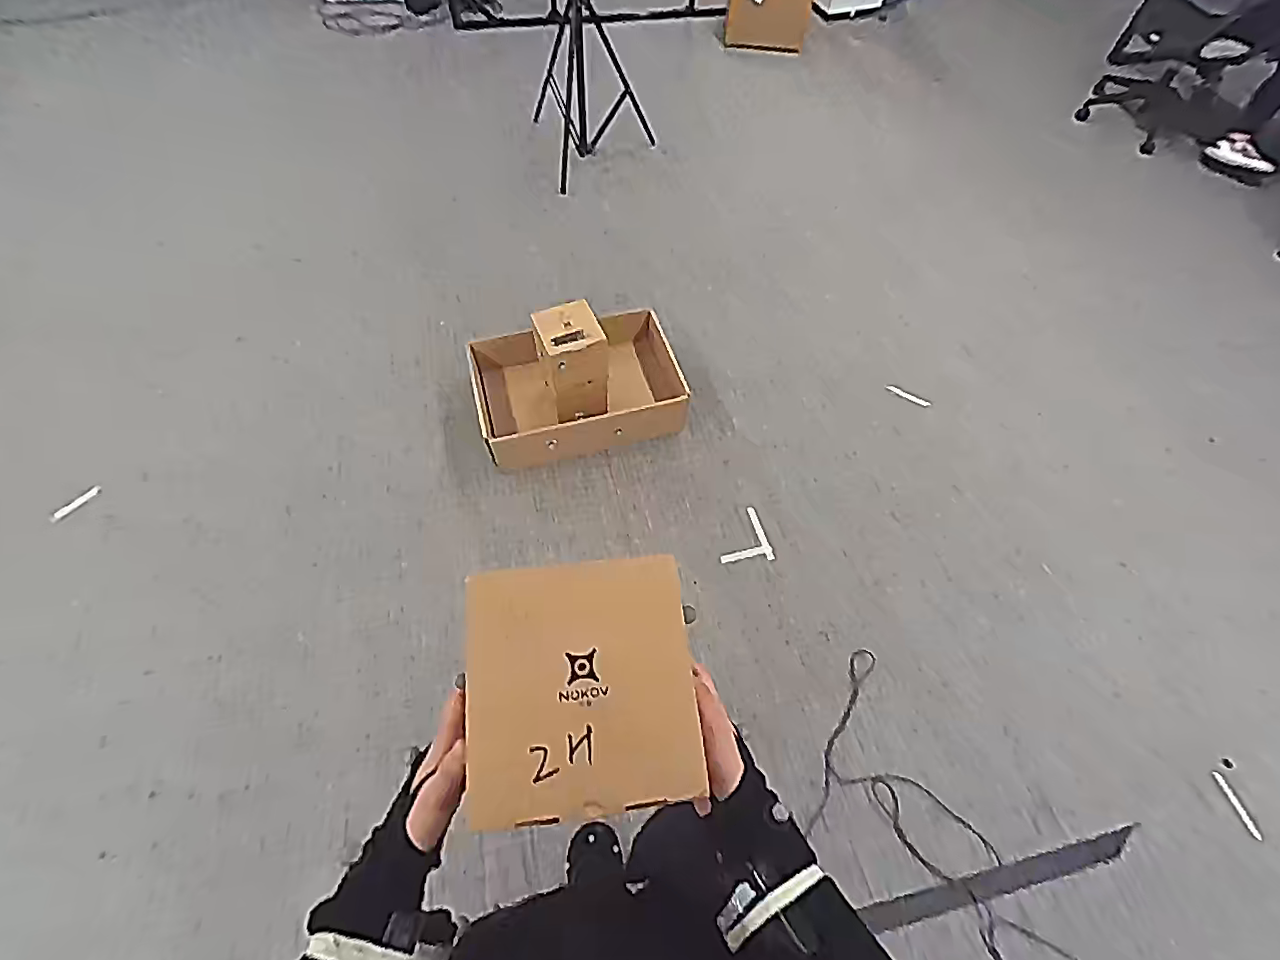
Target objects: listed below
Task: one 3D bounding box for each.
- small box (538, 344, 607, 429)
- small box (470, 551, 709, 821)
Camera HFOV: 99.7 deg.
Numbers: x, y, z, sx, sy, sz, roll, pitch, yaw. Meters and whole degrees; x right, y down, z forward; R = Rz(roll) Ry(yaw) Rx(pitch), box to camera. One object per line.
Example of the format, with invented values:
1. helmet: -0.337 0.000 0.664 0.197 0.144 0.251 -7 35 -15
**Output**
1. small box: -0.210 -0.290 1.693 0.168 0.176 0.179 -19 63 -13
2. small box: -0.048 0.173 0.471 0.168 0.176 0.179 -4 68 -7
